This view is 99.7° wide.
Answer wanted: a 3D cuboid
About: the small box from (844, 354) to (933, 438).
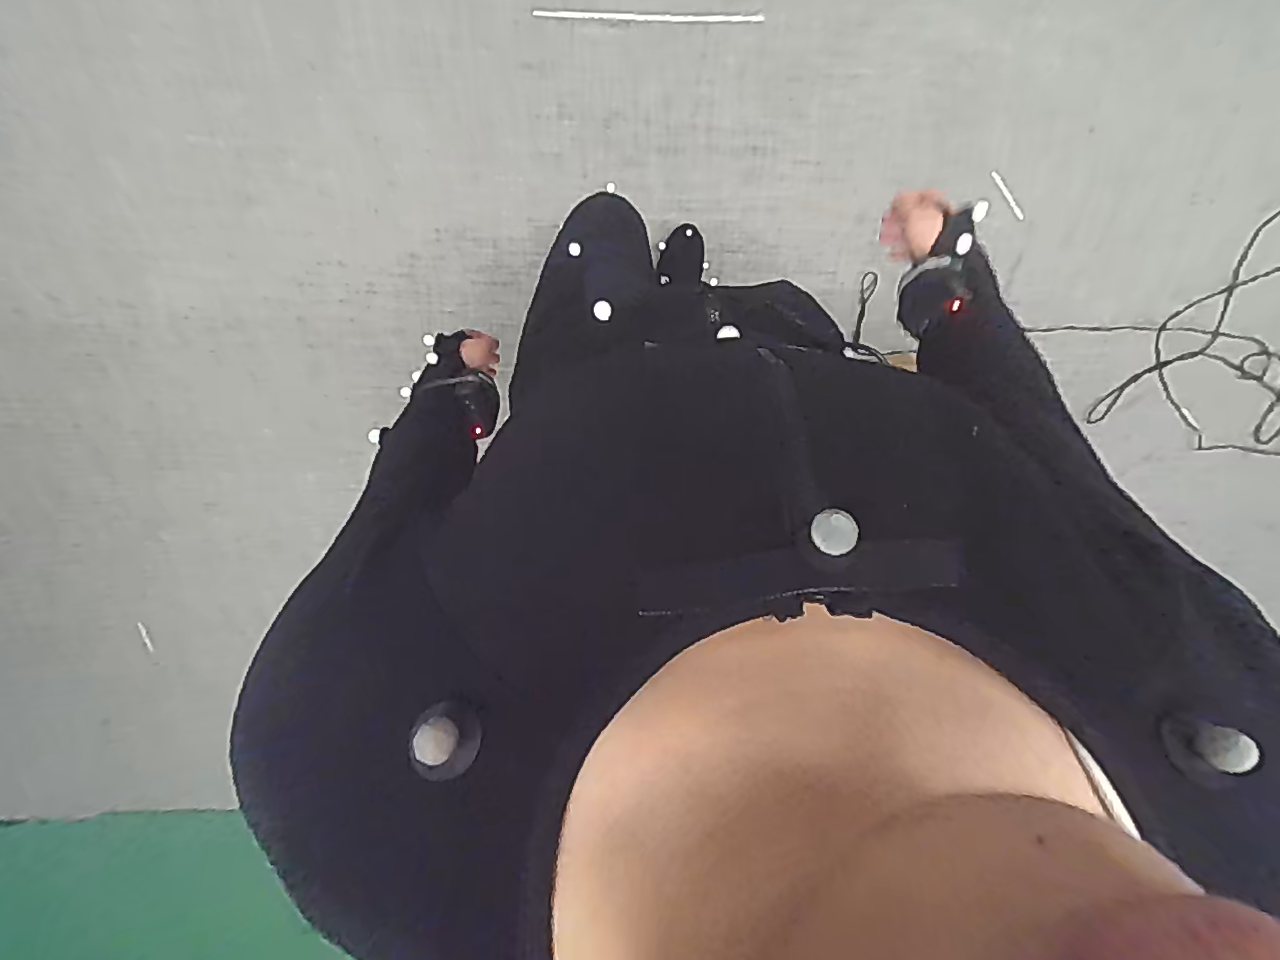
[{"bbox_3d":[0.635,-0.217,1.378,0.179,0.176,0.168,-7,115,2],"label":"small box"}]
